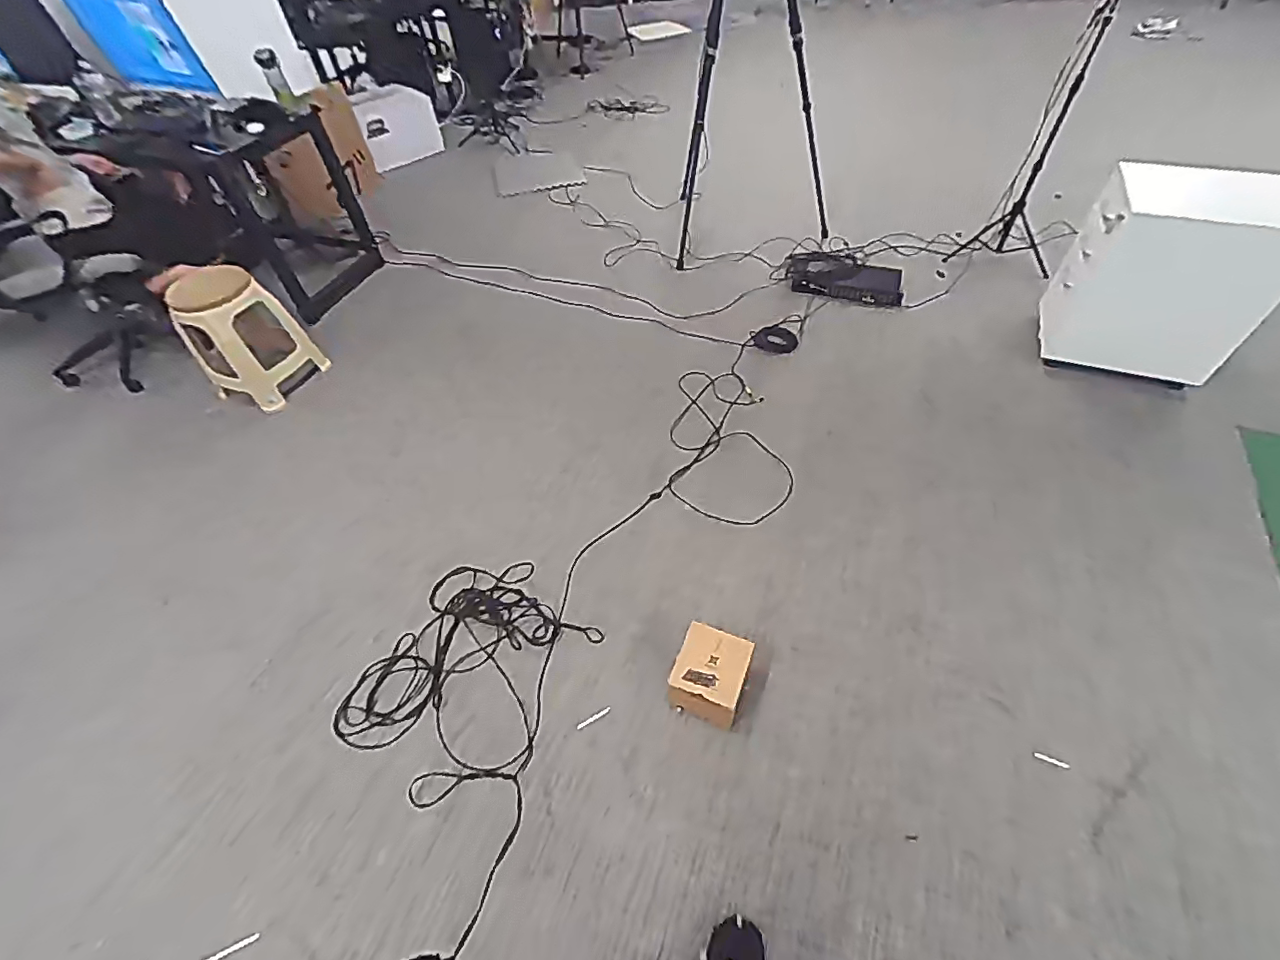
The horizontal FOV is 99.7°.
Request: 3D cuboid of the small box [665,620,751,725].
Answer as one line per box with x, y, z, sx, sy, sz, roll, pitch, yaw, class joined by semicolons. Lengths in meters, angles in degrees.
0.174;0.491;1.370;0.168;0.176;0.179;17;54;17;small box
